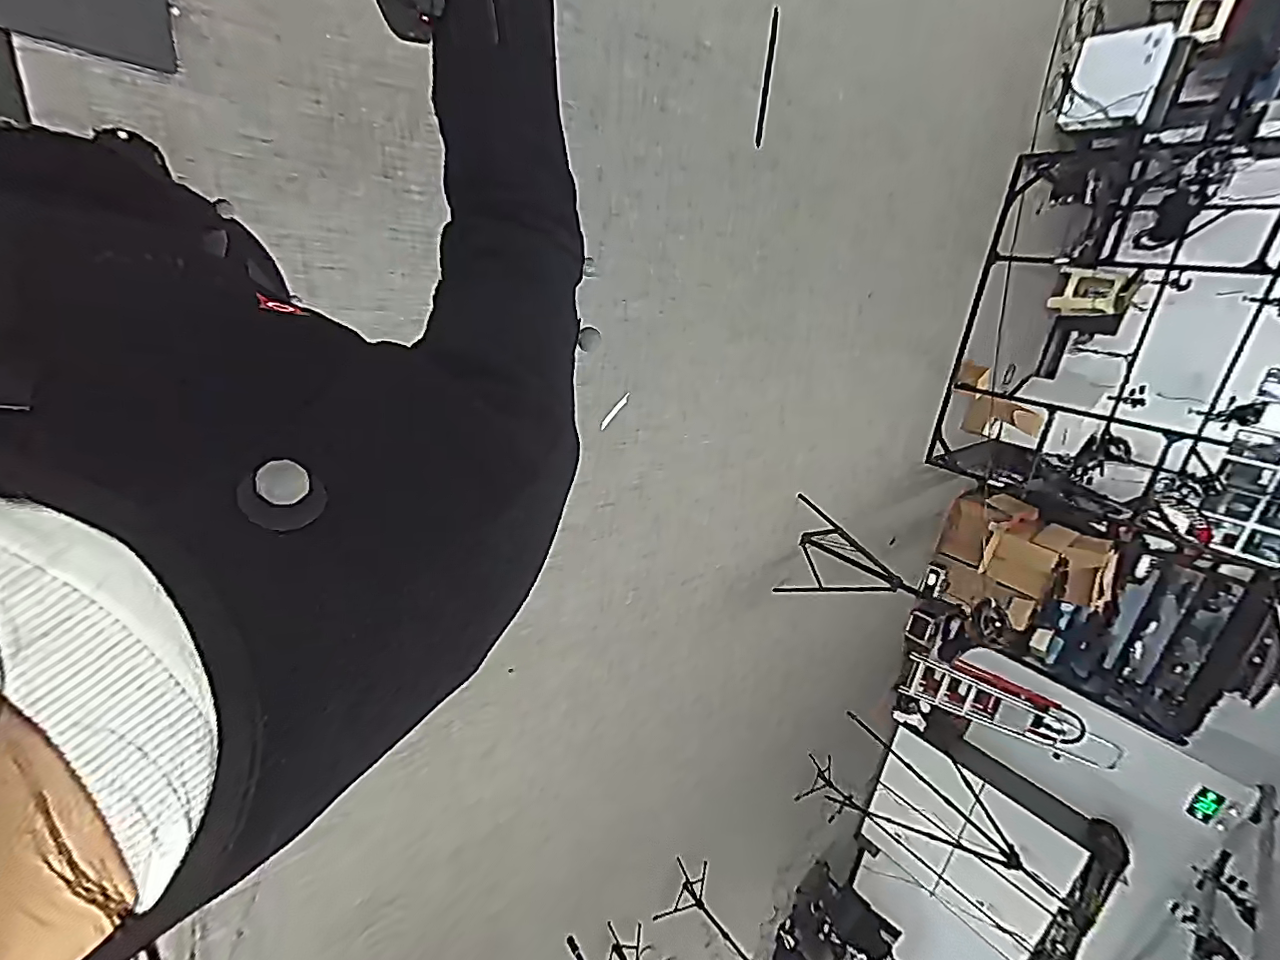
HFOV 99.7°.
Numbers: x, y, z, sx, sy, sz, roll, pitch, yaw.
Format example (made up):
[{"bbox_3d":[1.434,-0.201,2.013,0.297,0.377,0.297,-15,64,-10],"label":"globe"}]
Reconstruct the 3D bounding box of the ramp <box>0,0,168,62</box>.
[{"bbox_3d":[-0.900,-1.135,0.587,0.509,0.206,0.991,-12,118,-40],"label":"ramp"}]
